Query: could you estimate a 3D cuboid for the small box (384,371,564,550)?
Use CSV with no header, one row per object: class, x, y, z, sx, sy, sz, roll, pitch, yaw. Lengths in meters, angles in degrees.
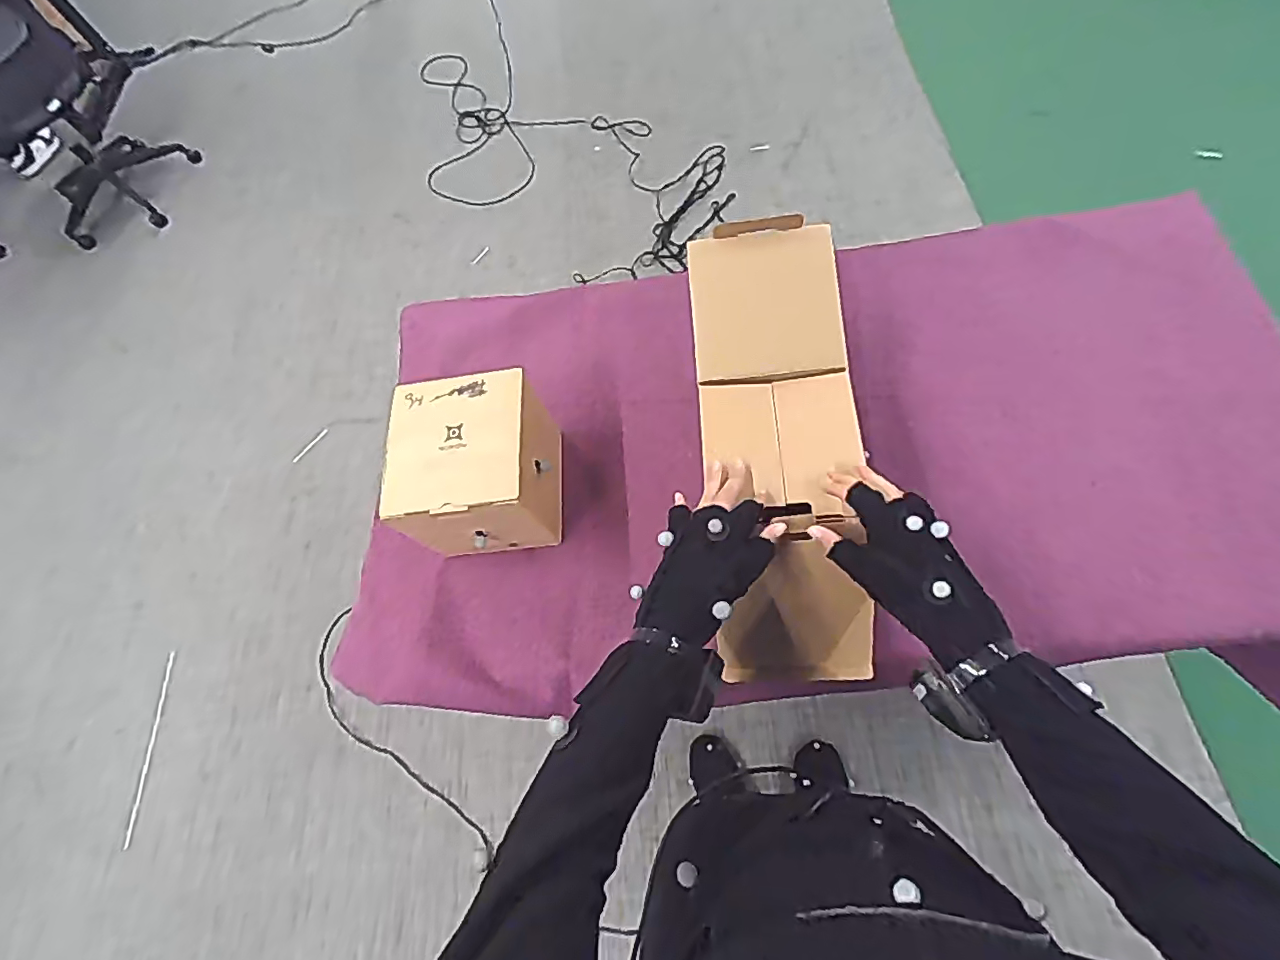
small box,-0.199,-0.014,0.698,0.168,0.176,0.179,-7,67,6
